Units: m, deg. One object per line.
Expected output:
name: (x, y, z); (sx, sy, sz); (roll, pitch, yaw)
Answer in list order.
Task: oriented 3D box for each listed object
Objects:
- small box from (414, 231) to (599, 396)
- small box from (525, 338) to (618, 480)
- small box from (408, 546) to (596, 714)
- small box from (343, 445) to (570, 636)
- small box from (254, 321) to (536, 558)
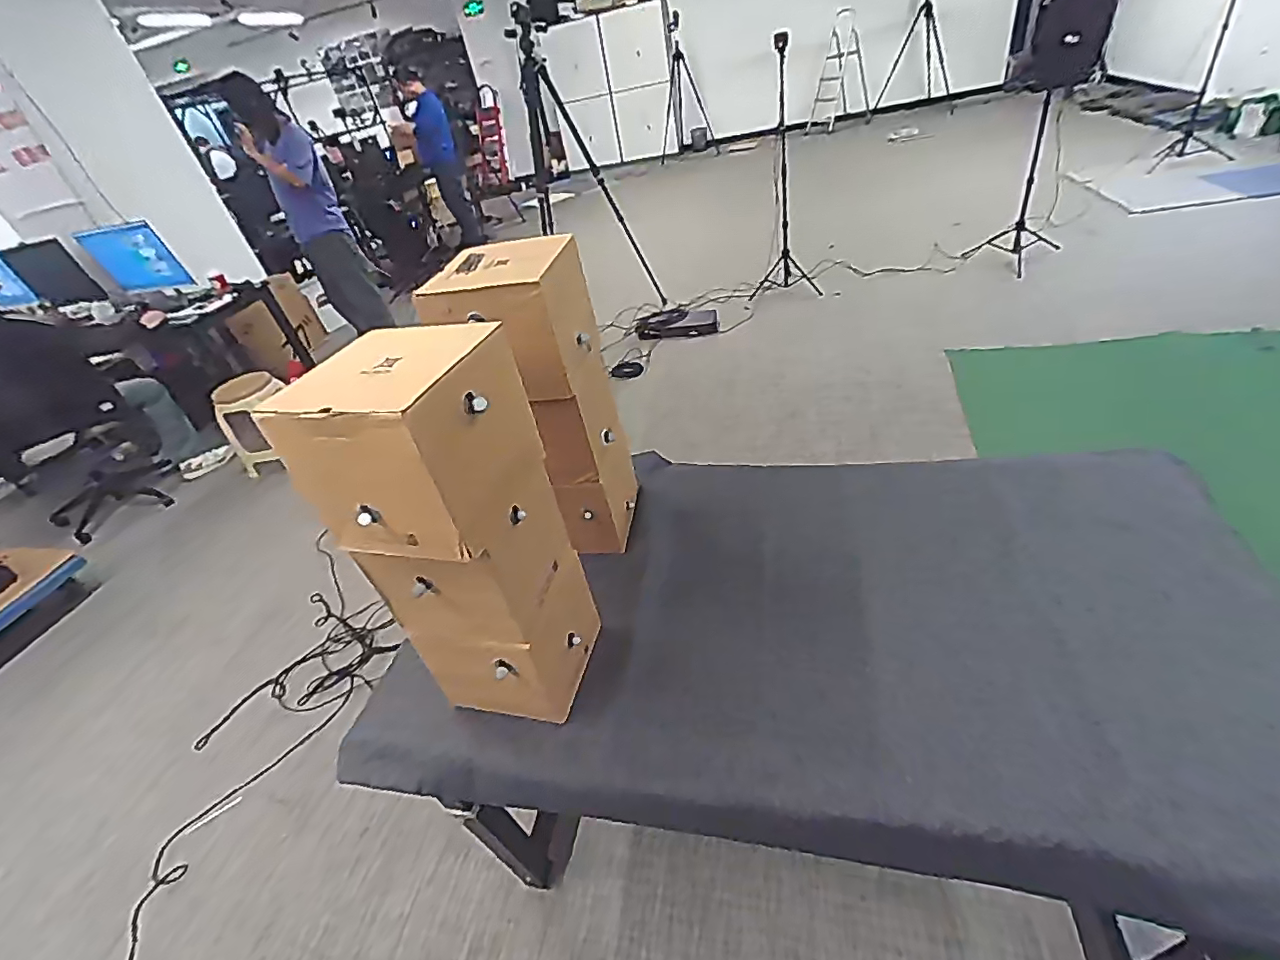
small box: (-0.173, -0.229, 0.763); (0.179, 0.176, 0.168); (0, 42, 14)
small box: (-0.146, -0.112, 0.876); (0.179, 0.176, 0.168); (-2, 42, 12)
small box: (-0.176, 0.203, 0.756); (0.179, 0.176, 0.168); (1, 38, 18)
small box: (-0.207, 0.073, 0.662); (0.179, 0.176, 0.168); (-2, 38, 15)
small box: (-0.222, -0.046, 0.549); (0.168, 0.176, 0.179); (2, 40, 18)
